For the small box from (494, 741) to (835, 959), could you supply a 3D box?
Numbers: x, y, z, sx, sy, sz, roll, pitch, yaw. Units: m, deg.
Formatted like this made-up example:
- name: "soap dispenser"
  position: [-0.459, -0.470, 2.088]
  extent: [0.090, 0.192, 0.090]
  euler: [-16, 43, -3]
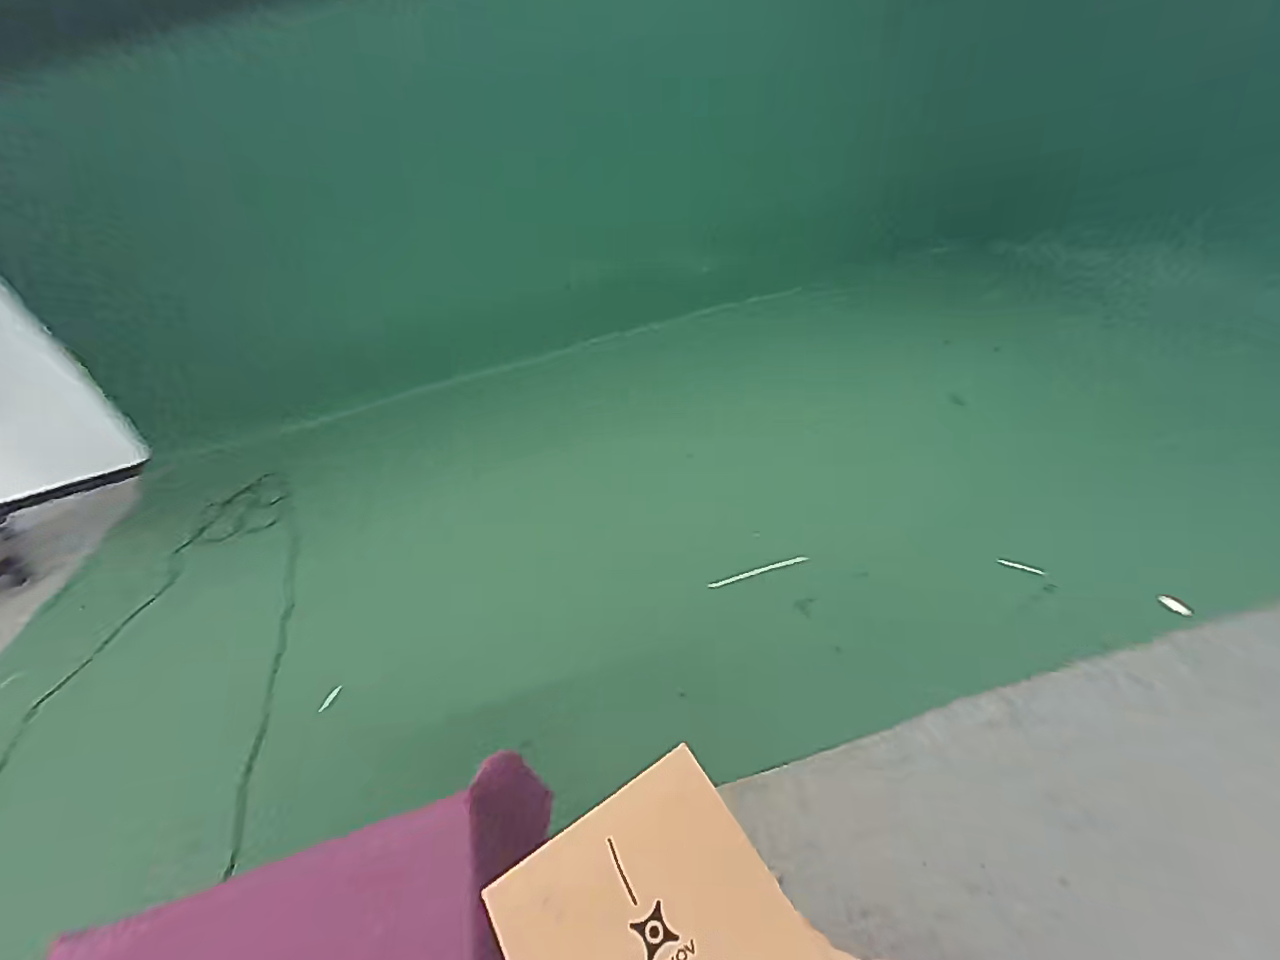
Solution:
- name: "small box"
  position: [0.019, 0.334, 0.396]
  extent: [0.168, 0.176, 0.179]
  euler: [-27, 53, -19]
